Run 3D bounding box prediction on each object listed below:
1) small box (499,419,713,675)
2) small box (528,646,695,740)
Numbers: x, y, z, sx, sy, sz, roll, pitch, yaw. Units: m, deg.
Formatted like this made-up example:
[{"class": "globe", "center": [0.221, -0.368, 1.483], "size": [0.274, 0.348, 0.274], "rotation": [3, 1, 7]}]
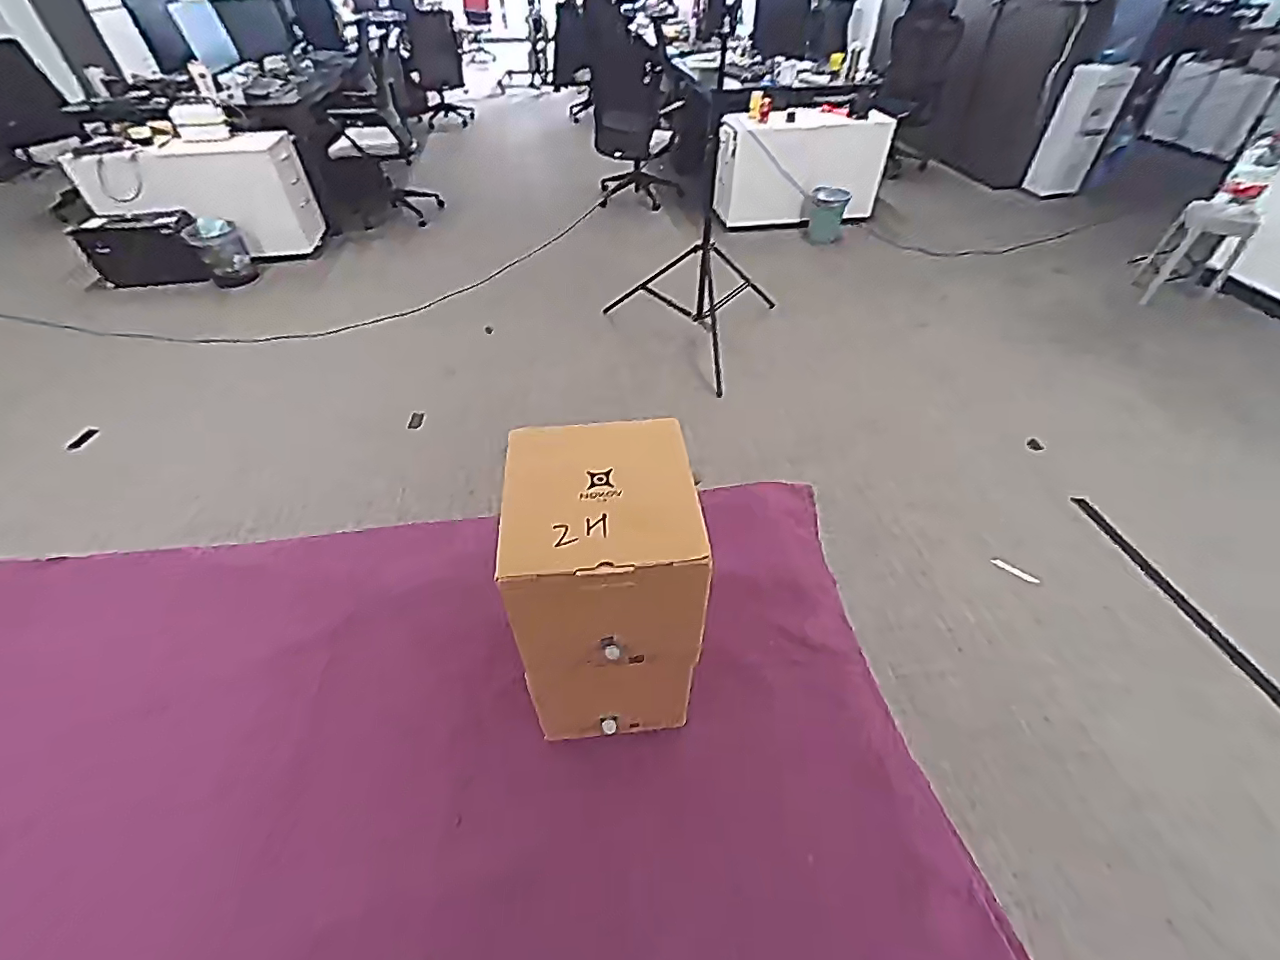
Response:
[{"class": "small box", "center": [-0.032, 0.063, 0.521], "size": [0.168, 0.176, 0.179], "rotation": [-5, 45, -3]}, {"class": "small box", "center": [-0.035, 0.180, 0.637], "size": [0.168, 0.176, 0.179], "rotation": [-4, 45, -4]}]
